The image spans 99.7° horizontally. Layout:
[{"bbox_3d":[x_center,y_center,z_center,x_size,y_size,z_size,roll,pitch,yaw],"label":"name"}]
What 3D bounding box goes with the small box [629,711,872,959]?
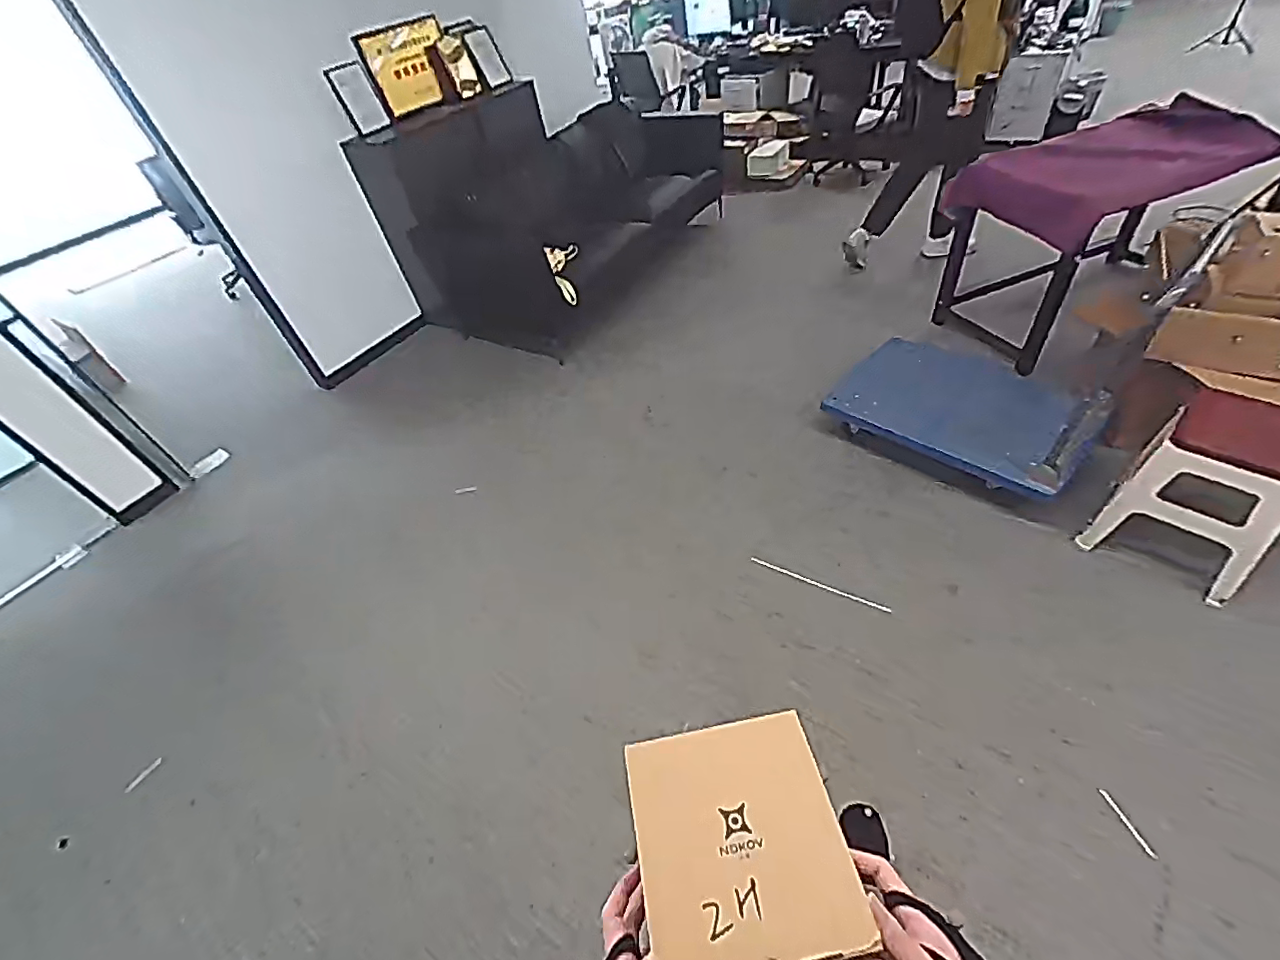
[{"bbox_3d":[0.086,0.349,0.507,0.168,0.176,0.179,-10,44,-2],"label":"small box"}]
